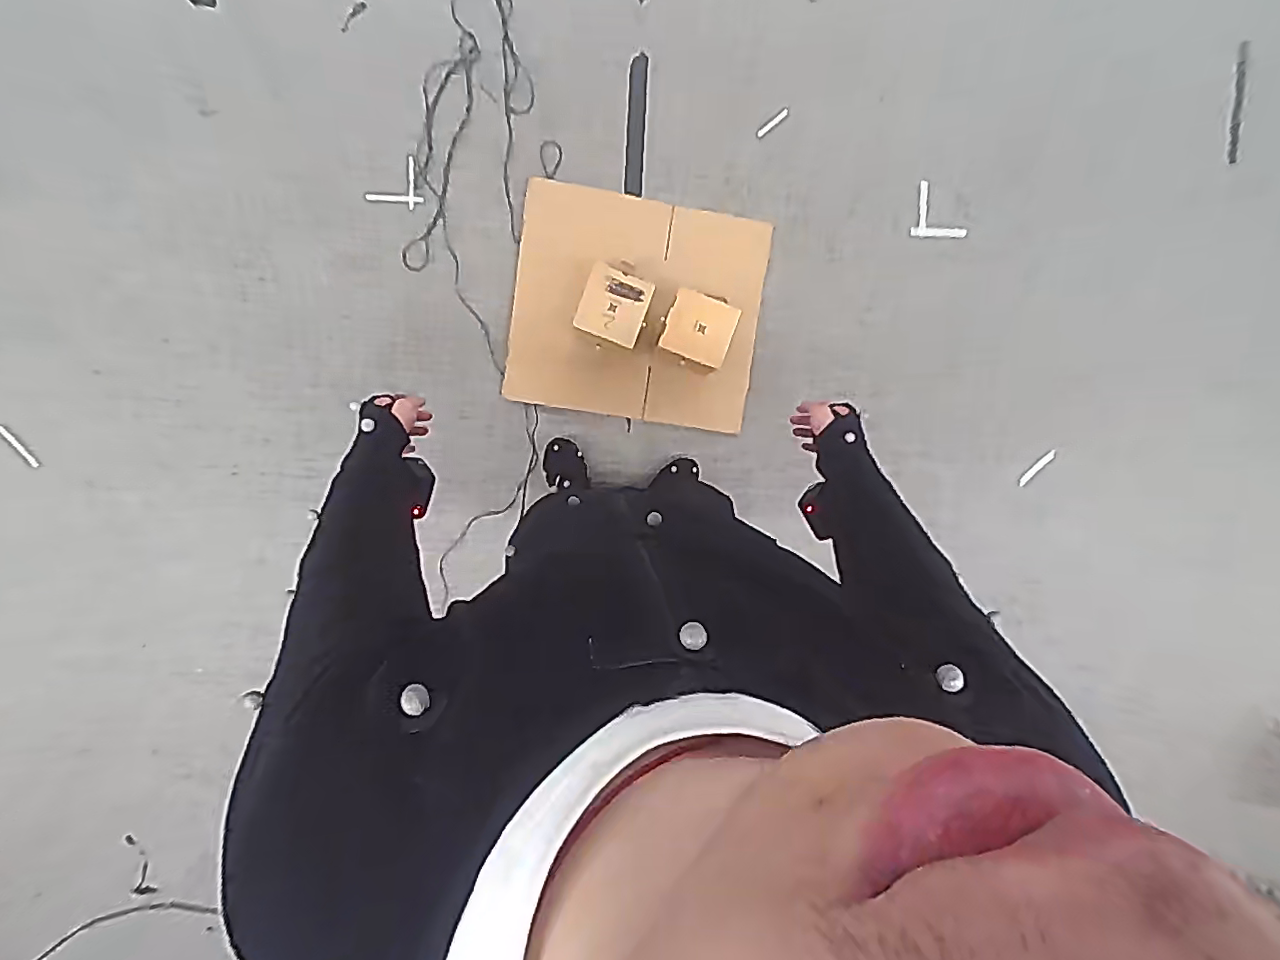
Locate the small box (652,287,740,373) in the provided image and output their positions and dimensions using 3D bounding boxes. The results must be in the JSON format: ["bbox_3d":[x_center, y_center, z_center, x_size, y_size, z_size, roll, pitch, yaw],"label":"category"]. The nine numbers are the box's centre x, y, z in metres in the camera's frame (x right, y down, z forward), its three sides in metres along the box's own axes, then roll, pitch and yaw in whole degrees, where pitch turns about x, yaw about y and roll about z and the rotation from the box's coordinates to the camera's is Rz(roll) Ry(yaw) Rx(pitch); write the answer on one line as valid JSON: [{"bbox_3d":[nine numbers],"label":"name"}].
[{"bbox_3d":[0.147,-0.404,1.489,0.179,0.176,0.168,20,93,-6],"label":"small box"}]
